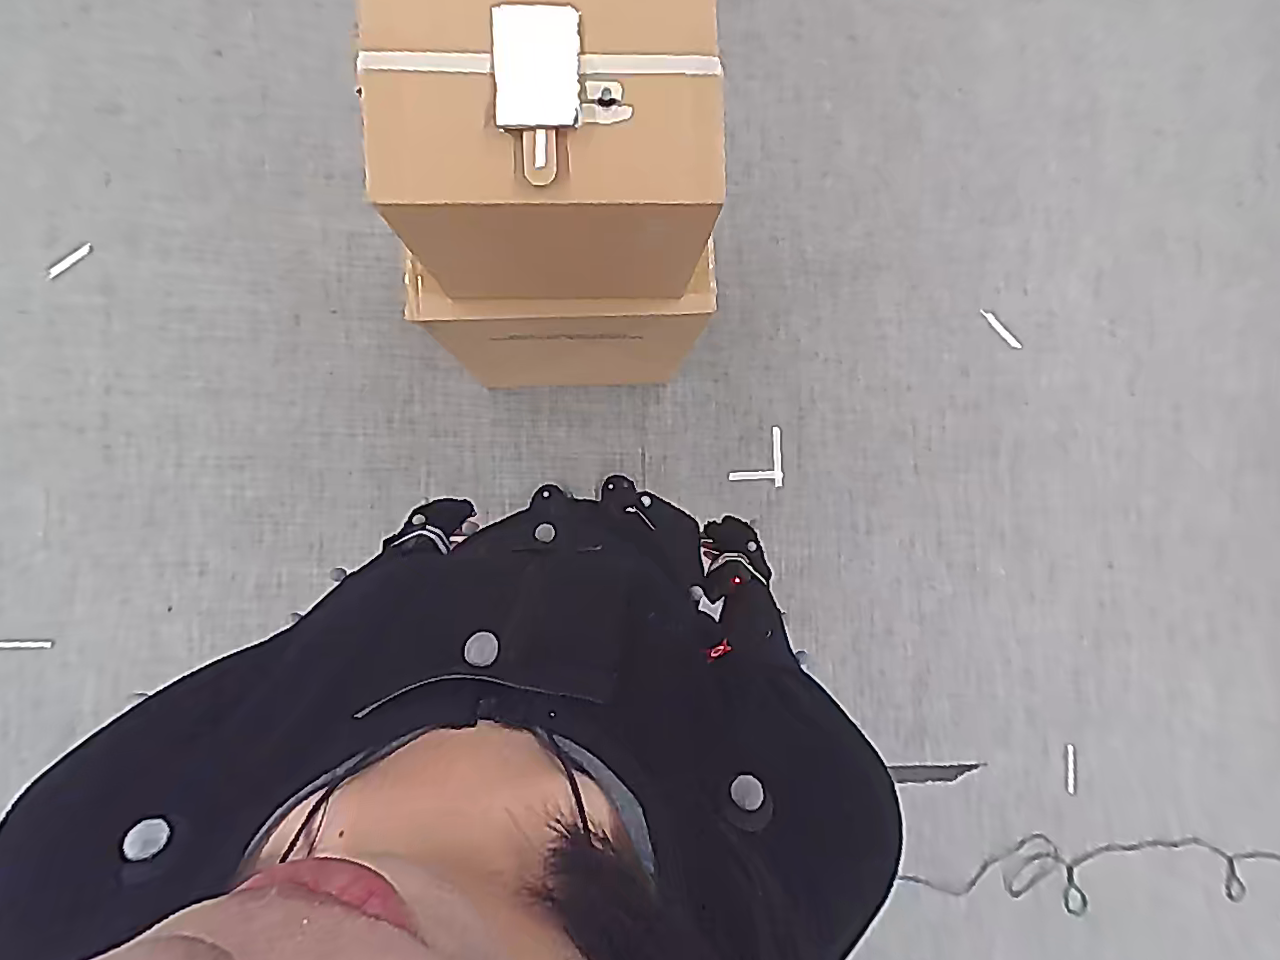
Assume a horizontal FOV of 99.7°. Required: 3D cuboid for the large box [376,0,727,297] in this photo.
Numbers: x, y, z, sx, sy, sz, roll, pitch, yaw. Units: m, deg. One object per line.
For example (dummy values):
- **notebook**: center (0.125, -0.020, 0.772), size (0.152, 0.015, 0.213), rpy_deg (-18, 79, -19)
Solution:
- **large box**: center (-0.115, -0.473, 0.780), size (0.408, 0.320, 0.320), rpy_deg (-2, 89, -5)
